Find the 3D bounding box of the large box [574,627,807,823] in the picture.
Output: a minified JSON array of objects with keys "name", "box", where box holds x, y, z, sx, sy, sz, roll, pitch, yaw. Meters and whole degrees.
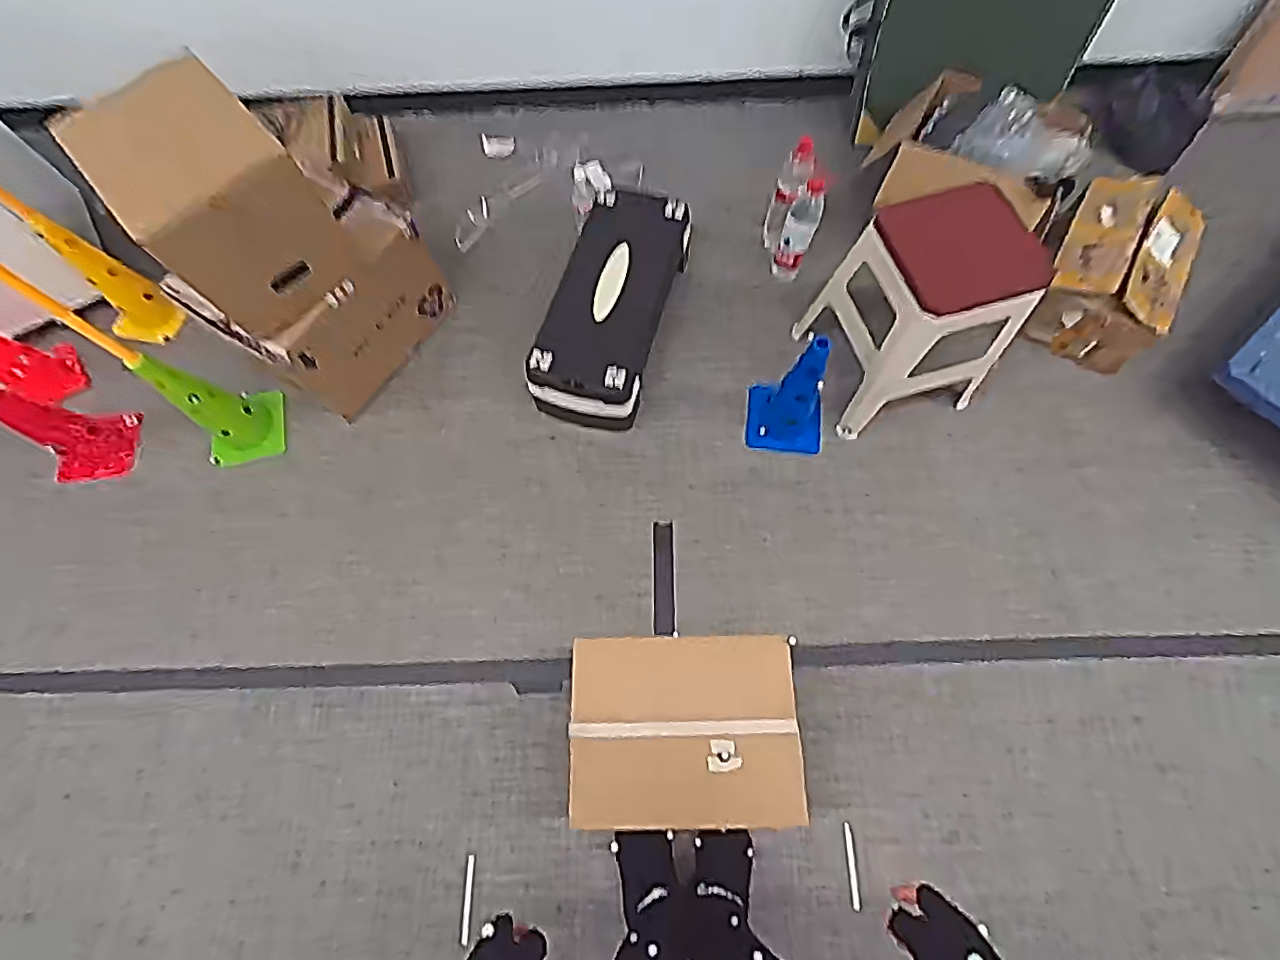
[{"name":"large box","box":[0.079,0.479,1.102,0.408,0.320,0.320,-1,70,-1]}]
